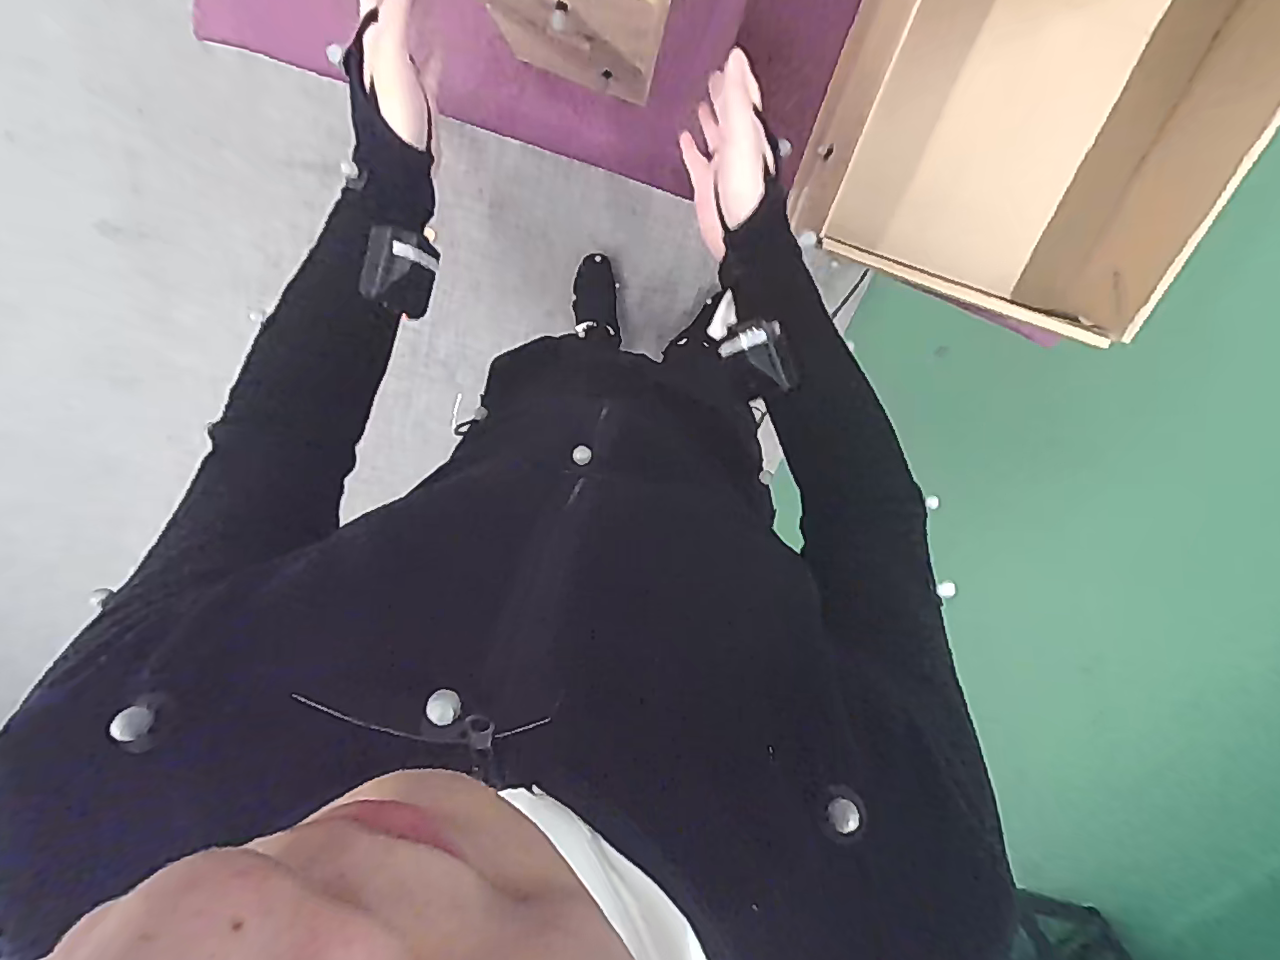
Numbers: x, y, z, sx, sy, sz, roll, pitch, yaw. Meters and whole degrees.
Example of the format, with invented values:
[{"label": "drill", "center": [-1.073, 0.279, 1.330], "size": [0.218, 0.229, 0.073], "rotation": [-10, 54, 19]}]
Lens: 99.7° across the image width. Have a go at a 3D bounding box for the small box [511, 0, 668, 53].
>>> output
[{"label": "small box", "center": [-0.040, -0.473, 0.416], "size": [0.168, 0.176, 0.179], "rotation": [15, 114, -9]}]
